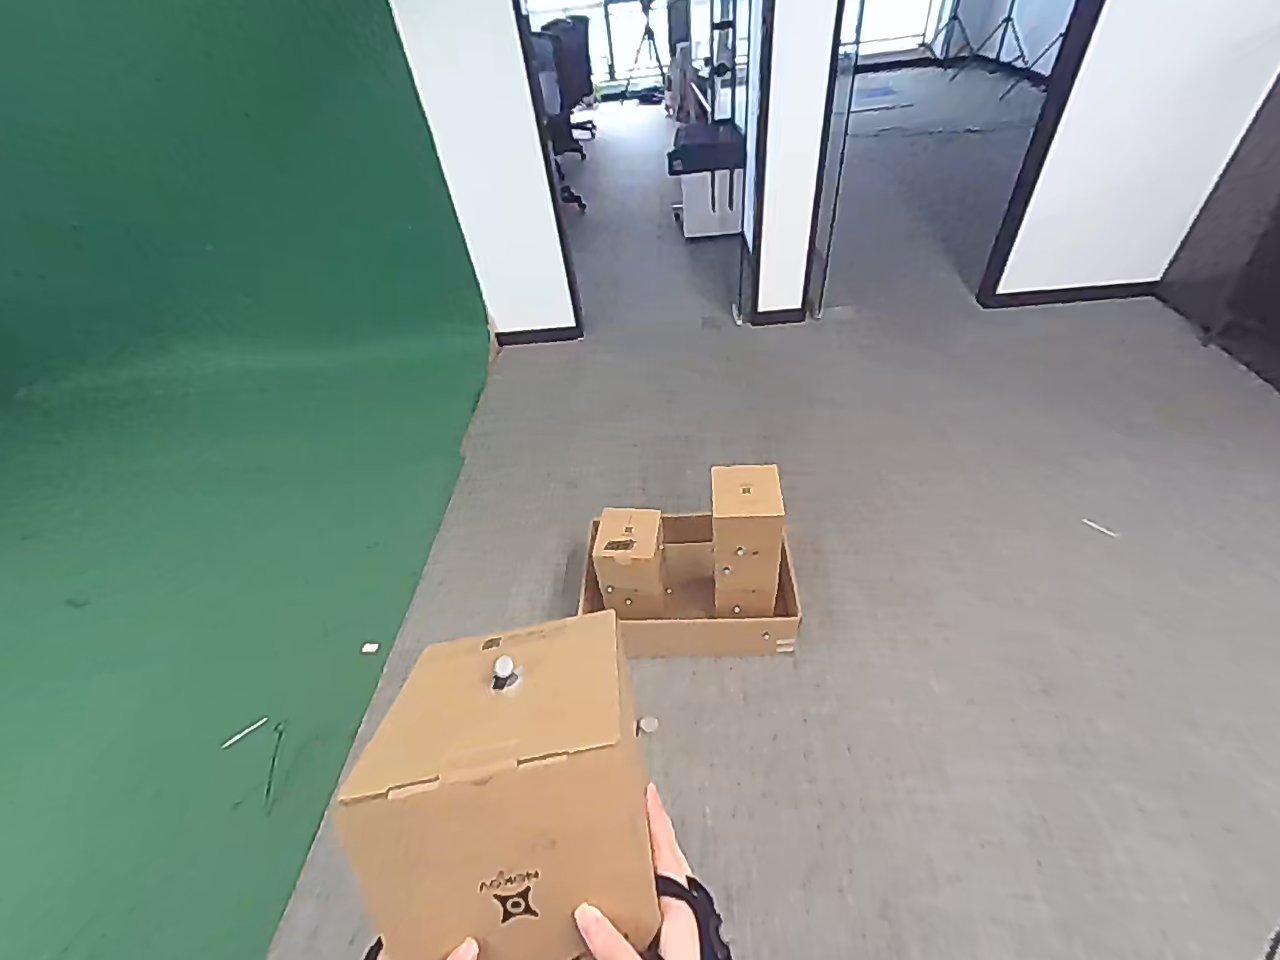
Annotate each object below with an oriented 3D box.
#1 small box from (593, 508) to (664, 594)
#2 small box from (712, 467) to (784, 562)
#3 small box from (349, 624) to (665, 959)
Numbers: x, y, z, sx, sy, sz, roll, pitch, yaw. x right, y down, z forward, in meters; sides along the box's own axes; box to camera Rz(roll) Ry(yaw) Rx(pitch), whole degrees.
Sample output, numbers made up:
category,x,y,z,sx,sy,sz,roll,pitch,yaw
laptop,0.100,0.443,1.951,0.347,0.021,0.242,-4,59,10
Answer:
category,x,y,z,sx,sy,sz,roll,pitch,yaw
small box,-0.025,0.200,1.513,0.168,0.176,0.179,2,44,9
small box,0.265,0.085,1.362,0.168,0.176,0.179,-1,45,8
small box,-0.081,0.225,0.409,0.168,0.179,0.176,-10,13,-1
